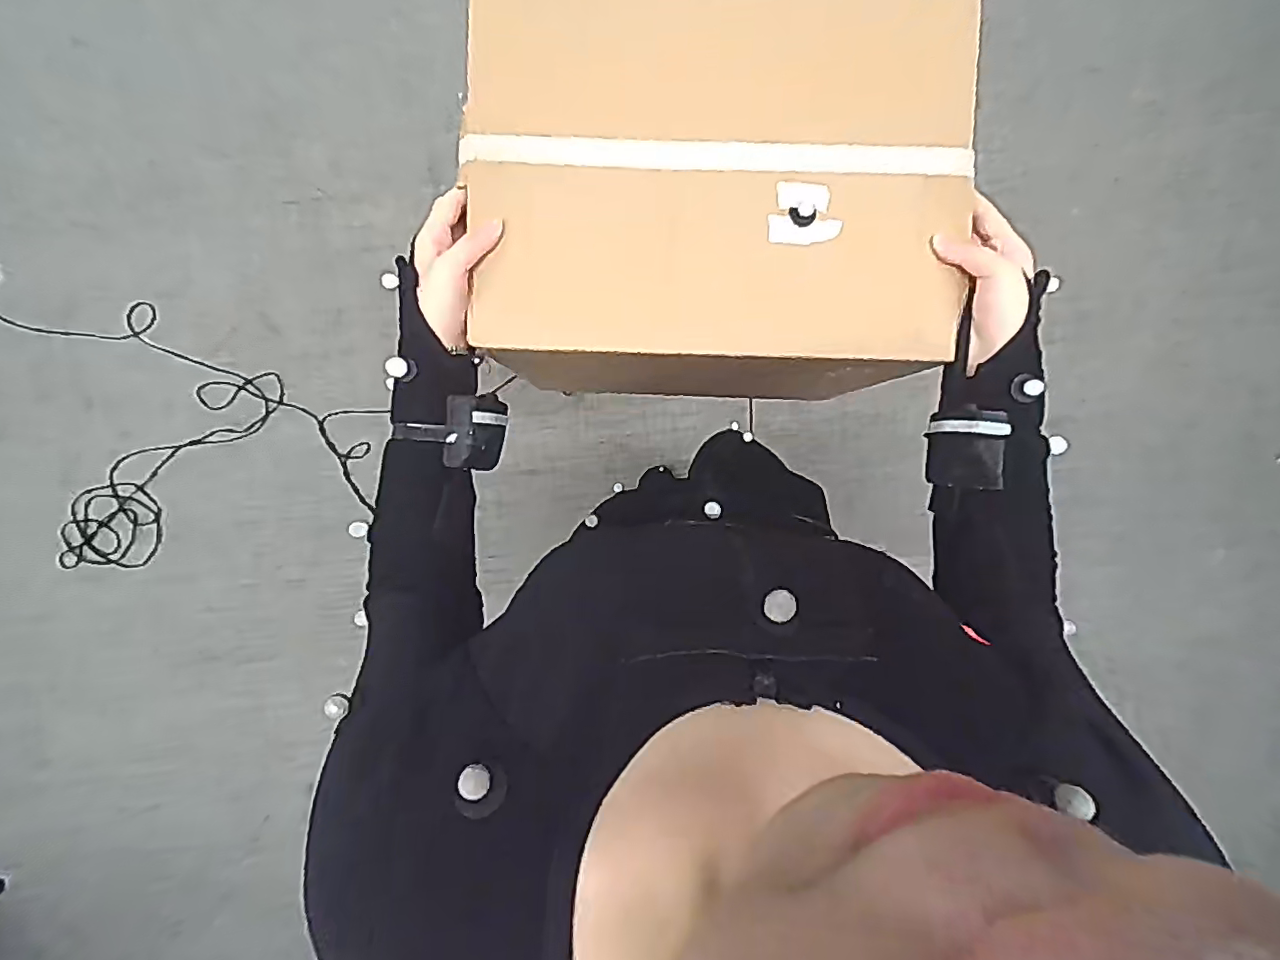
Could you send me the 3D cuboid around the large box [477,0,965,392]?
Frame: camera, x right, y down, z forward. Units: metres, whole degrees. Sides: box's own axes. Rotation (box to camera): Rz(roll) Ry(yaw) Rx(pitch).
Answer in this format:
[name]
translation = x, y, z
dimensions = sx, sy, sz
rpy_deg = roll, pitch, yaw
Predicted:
[large box]
translation = 0.060, -0.269, 0.590
dimensions = 0.408, 0.320, 0.320
rpy_deg = 1, 93, -2
